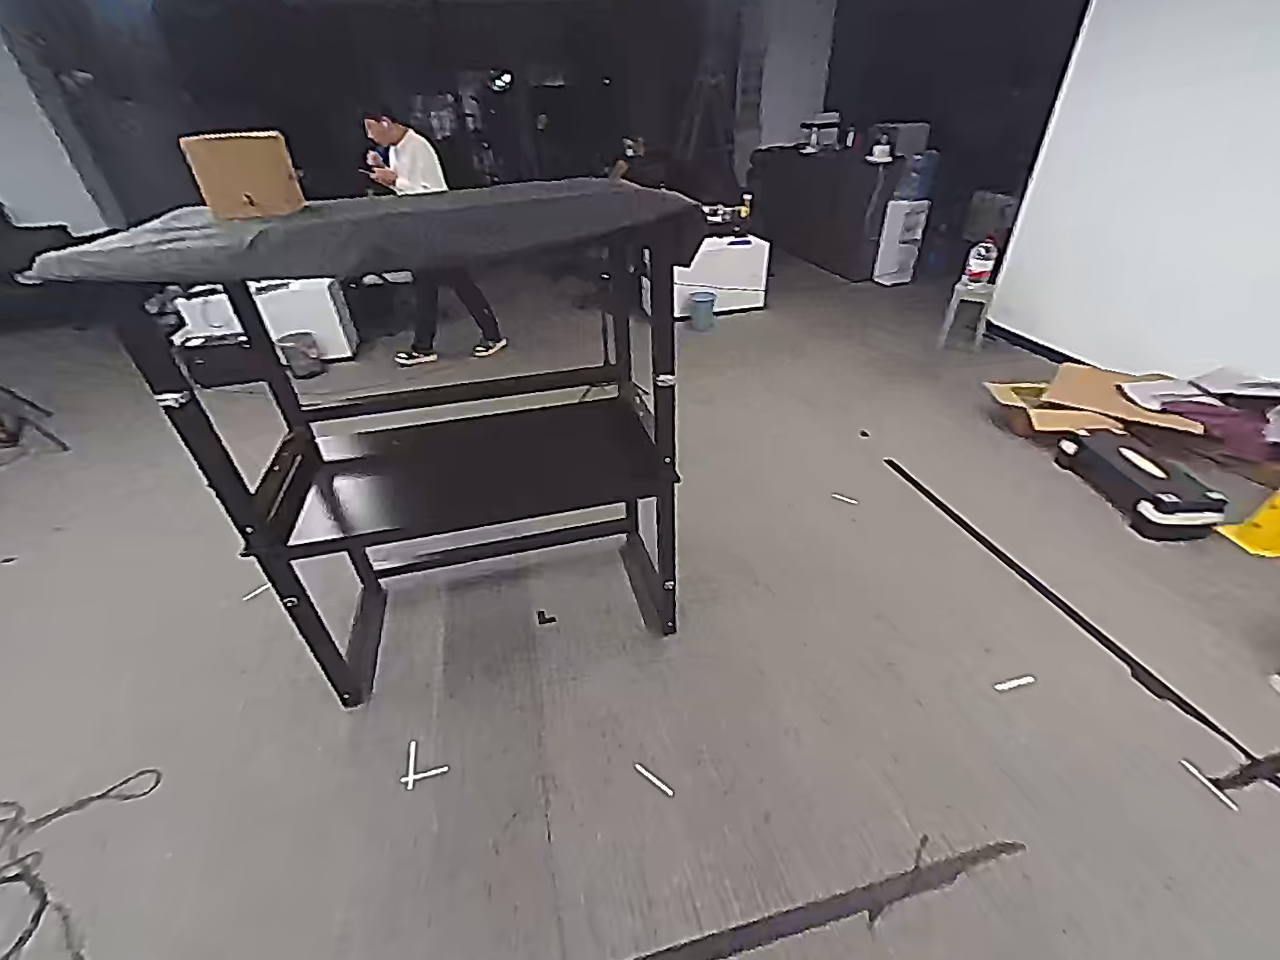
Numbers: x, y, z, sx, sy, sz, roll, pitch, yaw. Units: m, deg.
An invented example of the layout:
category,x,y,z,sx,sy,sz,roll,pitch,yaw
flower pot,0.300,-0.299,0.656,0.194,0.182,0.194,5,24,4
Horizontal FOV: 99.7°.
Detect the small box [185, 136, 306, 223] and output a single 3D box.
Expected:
category,x,y,z,sx,sy,sz,roll,pitch,yaw
small box,-0.959,-0.745,1.337,0.179,0.176,0.168,-10,36,-13
